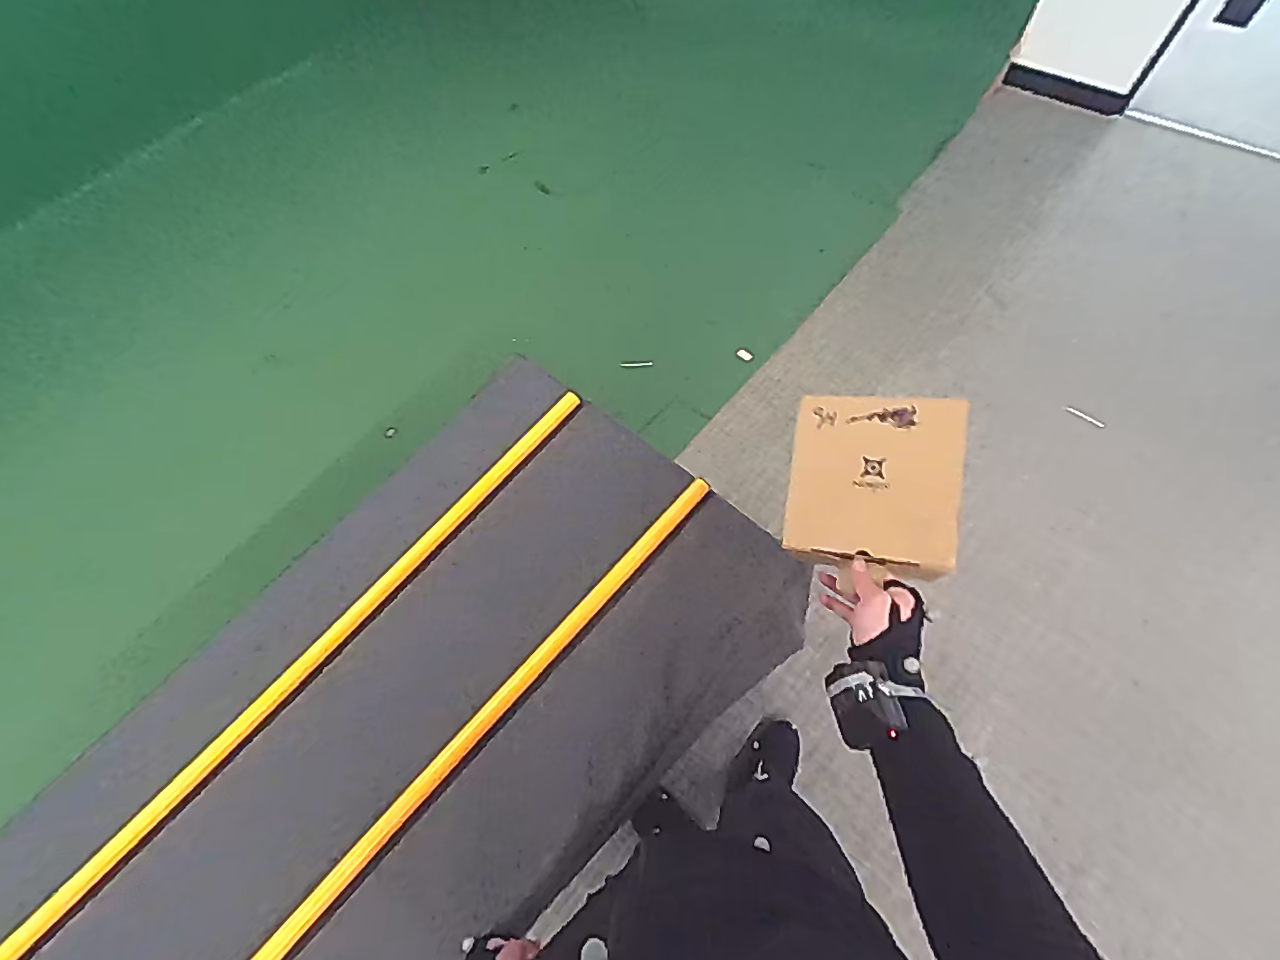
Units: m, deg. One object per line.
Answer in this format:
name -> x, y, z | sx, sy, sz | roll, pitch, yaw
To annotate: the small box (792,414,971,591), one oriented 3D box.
small box -> 0.286, 0.031, 0.640 | 0.168, 0.176, 0.179 | 3, 77, 27
